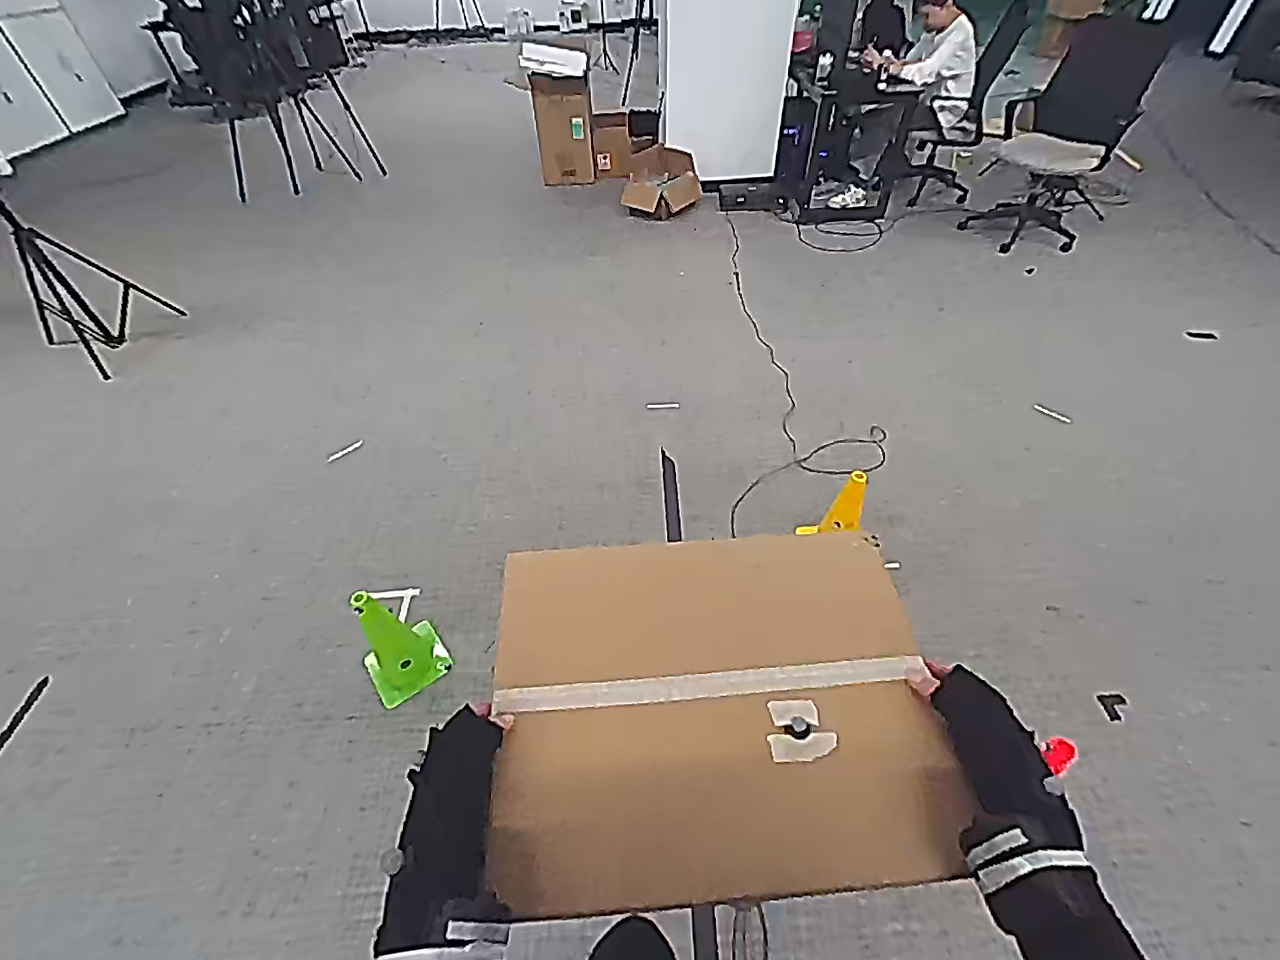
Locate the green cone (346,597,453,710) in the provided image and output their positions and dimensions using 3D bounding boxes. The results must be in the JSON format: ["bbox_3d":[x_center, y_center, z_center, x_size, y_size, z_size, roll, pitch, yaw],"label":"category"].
[{"bbox_3d":[-0.676,0.416,1.438,0.202,0.368,0.200,-33,52,-24],"label":"green cone"}]

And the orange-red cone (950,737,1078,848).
[{"bbox_3d":[0.820,0.632,1.158,0.198,0.360,0.199,-4,45,-2],"label":"orange-red cone"}]

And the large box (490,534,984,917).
[{"bbox_3d":[0.066,0.287,0.627,0.408,0.320,0.320,-3,52,-3],"label":"large box"}]
